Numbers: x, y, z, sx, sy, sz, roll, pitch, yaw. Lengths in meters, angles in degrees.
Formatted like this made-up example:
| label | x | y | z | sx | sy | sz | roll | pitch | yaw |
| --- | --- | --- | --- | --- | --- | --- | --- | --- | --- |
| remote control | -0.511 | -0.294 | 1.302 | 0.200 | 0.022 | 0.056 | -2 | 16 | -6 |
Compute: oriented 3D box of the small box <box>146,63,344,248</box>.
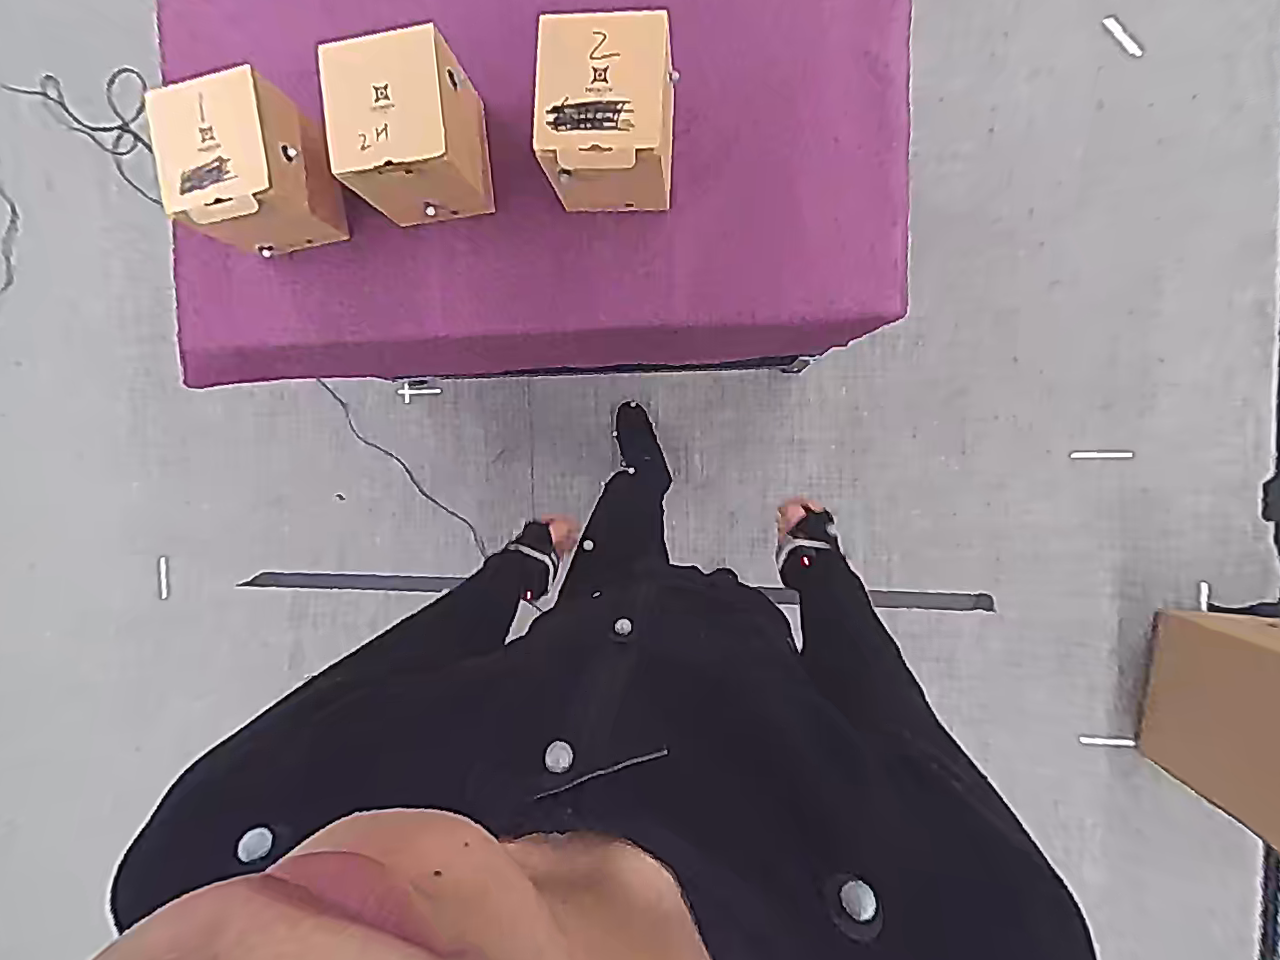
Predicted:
| label | x | y | z | sx | sy | sz | roll | pitch | yaw |
| --- | --- | --- | --- | --- | --- | --- | --- | --- | --- |
| small box | -0.586 | -0.473 | 0.825 | 0.168 | 0.176 | 0.179 | -9 | 91 | 6 |

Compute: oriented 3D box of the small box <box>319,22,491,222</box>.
| label | x | y | z | sx | sy | sz | roll | pitch | yaw |
| --- | --- | --- | --- | --- | --- | --- | --- | --- | --- |
| small box | -0.333 | -0.510 | 0.795 | 0.168 | 0.176 | 0.179 | -5 | 93 | 7 |
